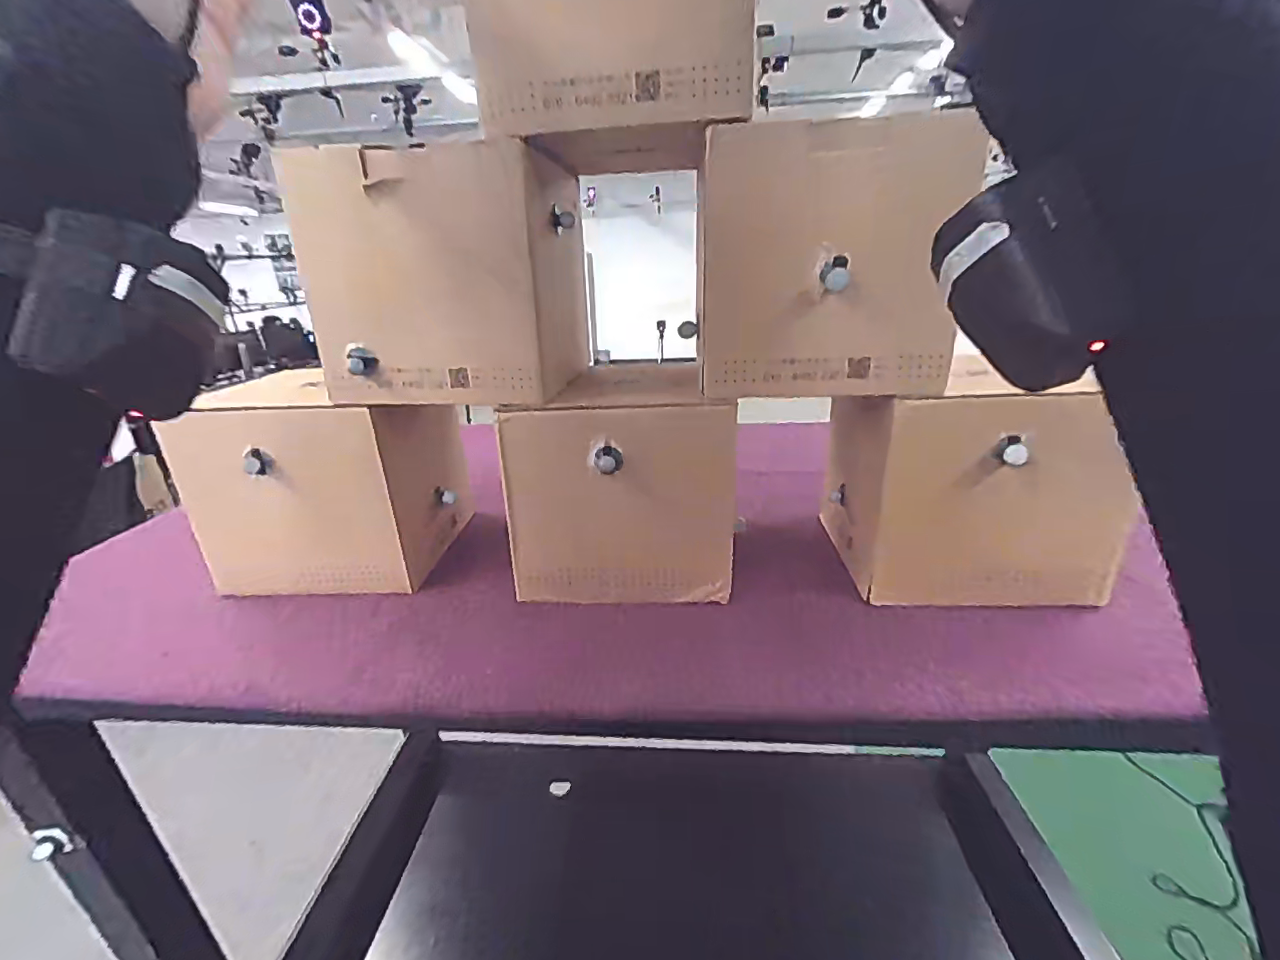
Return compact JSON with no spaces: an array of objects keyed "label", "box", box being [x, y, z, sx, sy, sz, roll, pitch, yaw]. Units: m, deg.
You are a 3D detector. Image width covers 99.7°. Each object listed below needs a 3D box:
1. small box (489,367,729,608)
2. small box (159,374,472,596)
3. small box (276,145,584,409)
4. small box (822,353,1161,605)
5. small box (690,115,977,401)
[{"label":"small box","box":[-0.013,-0.001,0.482,0.179,0.176,0.168,0,22,5]},{"label":"small box","box":[-0.280,-0.003,0.513,0.179,0.176,0.168,-1,23,3]},{"label":"small box","box":[-0.143,-0.158,0.445,0.168,0.176,0.179,1,21,6]},{"label":"small box","box":[0.265,-0.007,0.460,0.179,0.176,0.168,-2,21,6]},{"label":"small box","box":[0.124,-0.160,0.420,0.168,0.176,0.179,-1,22,5]}]
